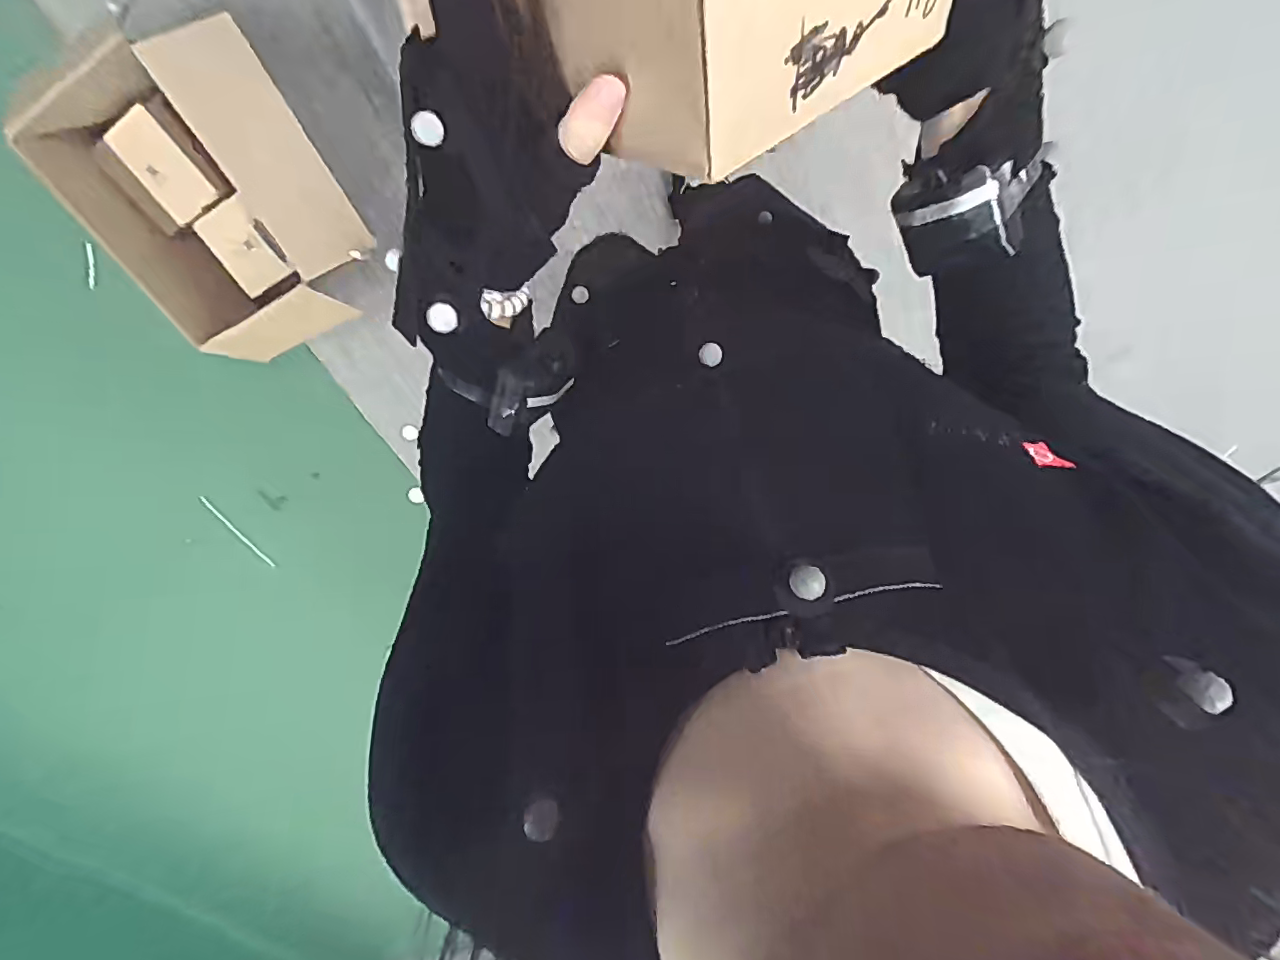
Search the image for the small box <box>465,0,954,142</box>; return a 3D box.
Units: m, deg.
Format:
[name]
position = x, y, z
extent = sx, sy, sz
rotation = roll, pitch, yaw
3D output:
[small box]
position = 0.018, -0.266, 0.209
extent = 0.168, 0.176, 0.179
rotation = -40, 143, -17
